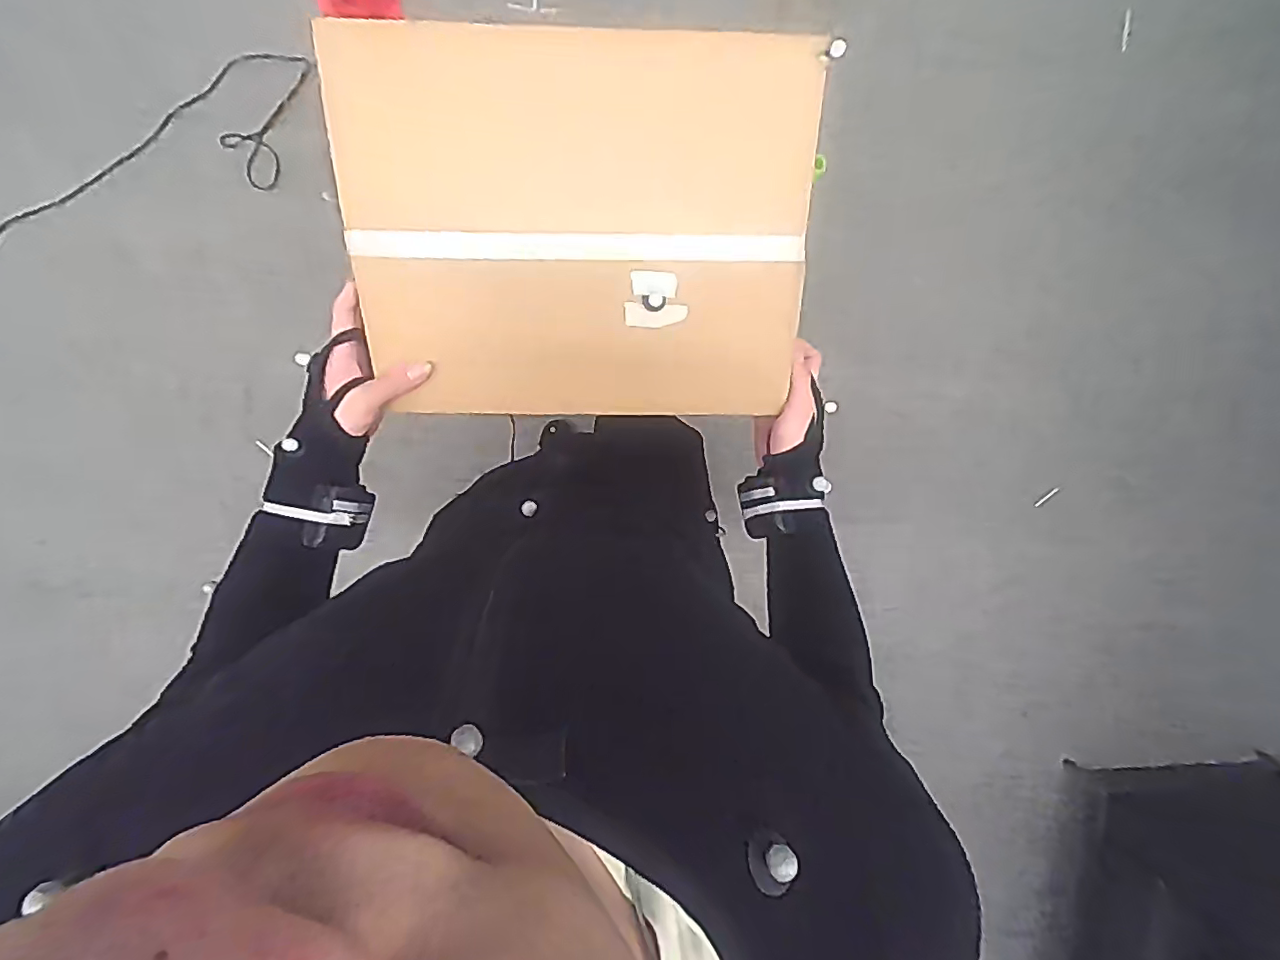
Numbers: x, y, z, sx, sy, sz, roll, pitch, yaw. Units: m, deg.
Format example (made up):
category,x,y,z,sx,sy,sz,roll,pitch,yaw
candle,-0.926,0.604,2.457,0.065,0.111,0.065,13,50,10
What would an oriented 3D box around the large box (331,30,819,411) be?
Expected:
category,x,y,z,sx,sy,sz,roll,pitch,yaw
large box,-0.058,-0.271,0.630,0.408,0.320,0.320,0,113,-3
